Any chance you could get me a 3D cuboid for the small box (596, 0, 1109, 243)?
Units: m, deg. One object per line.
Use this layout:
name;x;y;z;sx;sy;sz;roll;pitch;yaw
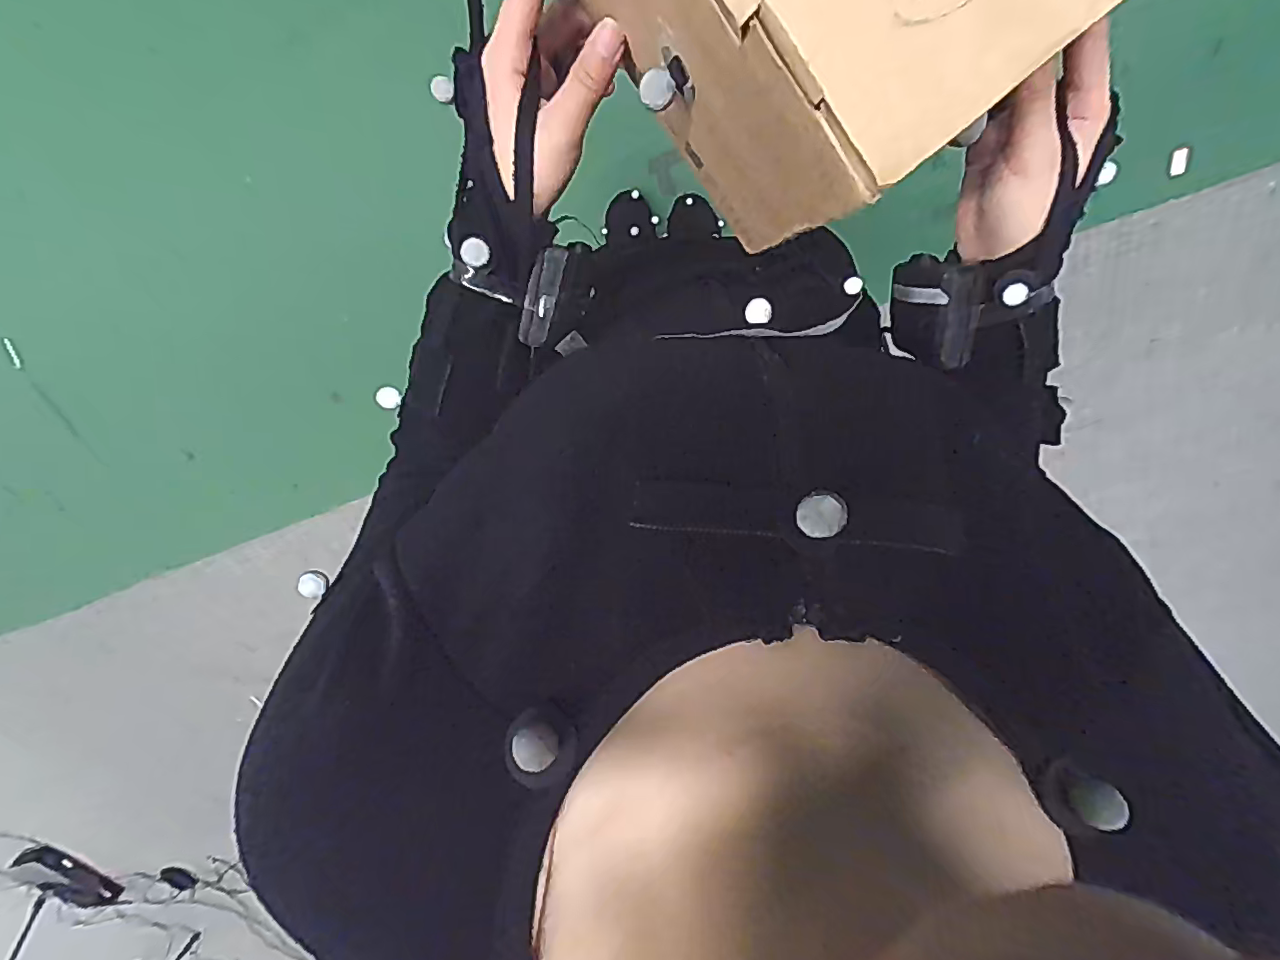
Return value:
small box;0.081;-0.215;0.201;0.179;0.176;0.168;-37;104;11
